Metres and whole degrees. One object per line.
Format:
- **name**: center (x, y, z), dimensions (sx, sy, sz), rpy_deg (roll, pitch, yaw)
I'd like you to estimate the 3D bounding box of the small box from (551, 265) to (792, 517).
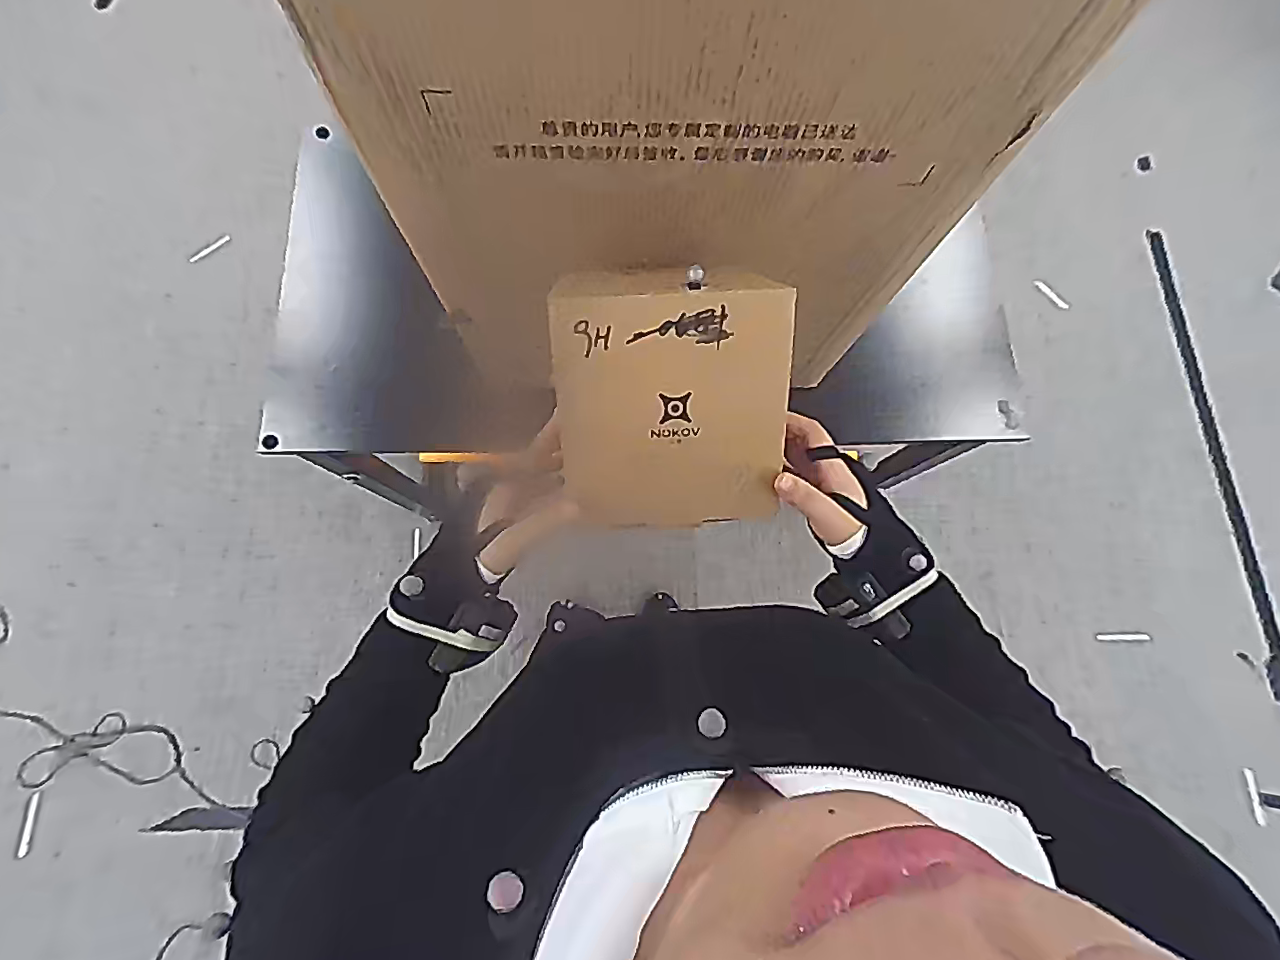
- **small box**: center (0.019, -0.086, 0.469), dimensions (0.168, 0.176, 0.179), rpy_deg (-3, 115, -3)
